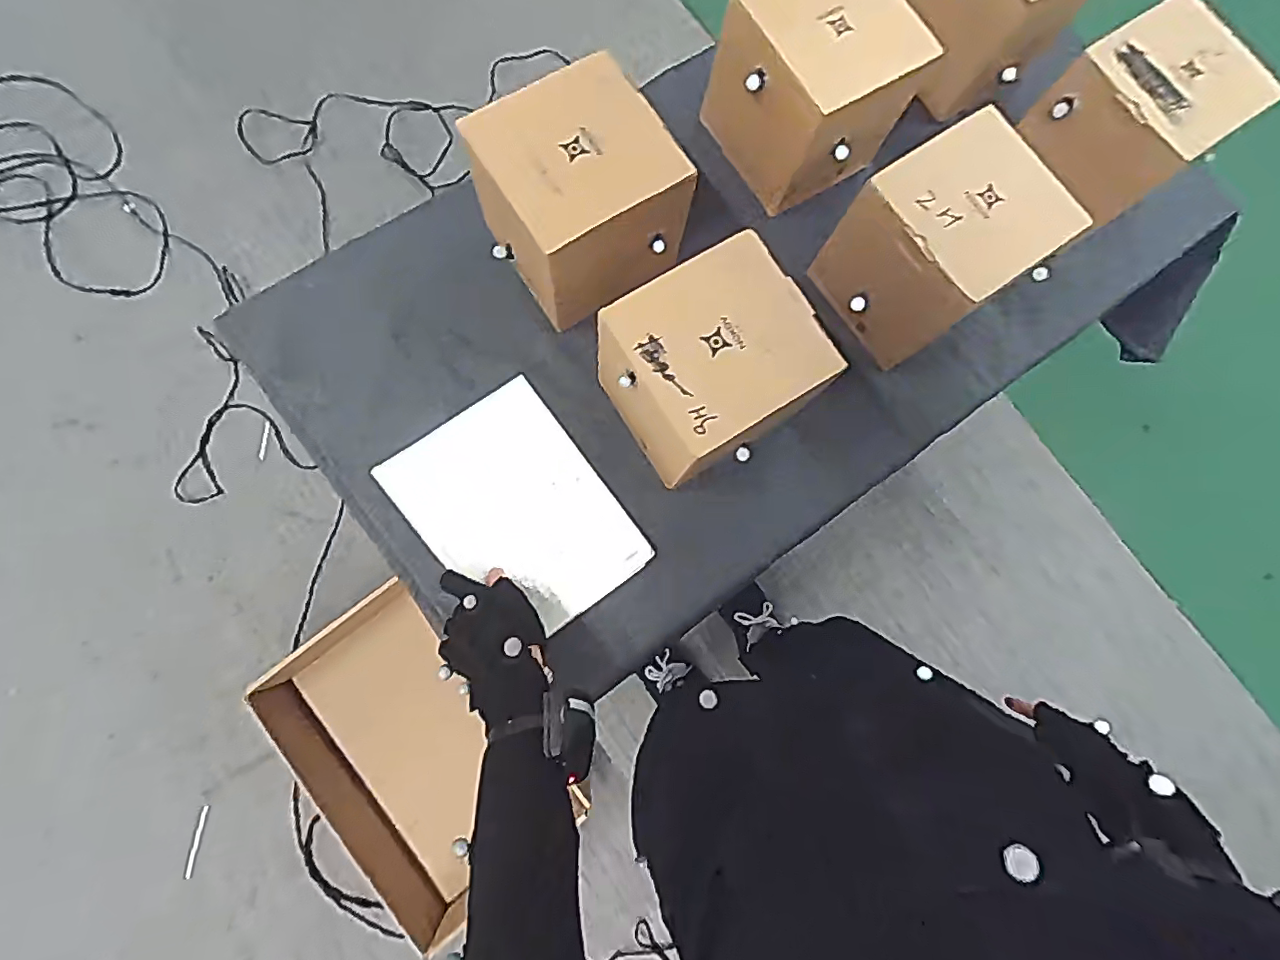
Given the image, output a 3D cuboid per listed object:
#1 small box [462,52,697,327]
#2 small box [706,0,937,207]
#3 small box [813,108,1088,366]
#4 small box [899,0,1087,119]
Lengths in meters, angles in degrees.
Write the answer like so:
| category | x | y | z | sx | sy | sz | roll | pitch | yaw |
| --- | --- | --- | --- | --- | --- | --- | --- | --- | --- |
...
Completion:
| category | x | y | z | sx | sy | sz | roll | pitch | yaw |
| --- | --- | --- | --- | --- | --- | --- | --- | --- | --- |
| small box | -0.065 | -0.306 | 0.601 | 0.179 | 0.176 | 0.168 | -33 | 83 | -10 |
| small box | 0.201 | -0.467 | 0.653 | 0.168 | 0.176 | 0.179 | -32 | 83 | -9 |
| small box | 0.336 | -0.264 | 0.622 | 0.179 | 0.176 | 0.168 | -34 | 83 | -10 |
| small box | 0.442 | -0.623 | 0.696 | 0.168 | 0.176 | 0.179 | -32 | 84 | -9 |
